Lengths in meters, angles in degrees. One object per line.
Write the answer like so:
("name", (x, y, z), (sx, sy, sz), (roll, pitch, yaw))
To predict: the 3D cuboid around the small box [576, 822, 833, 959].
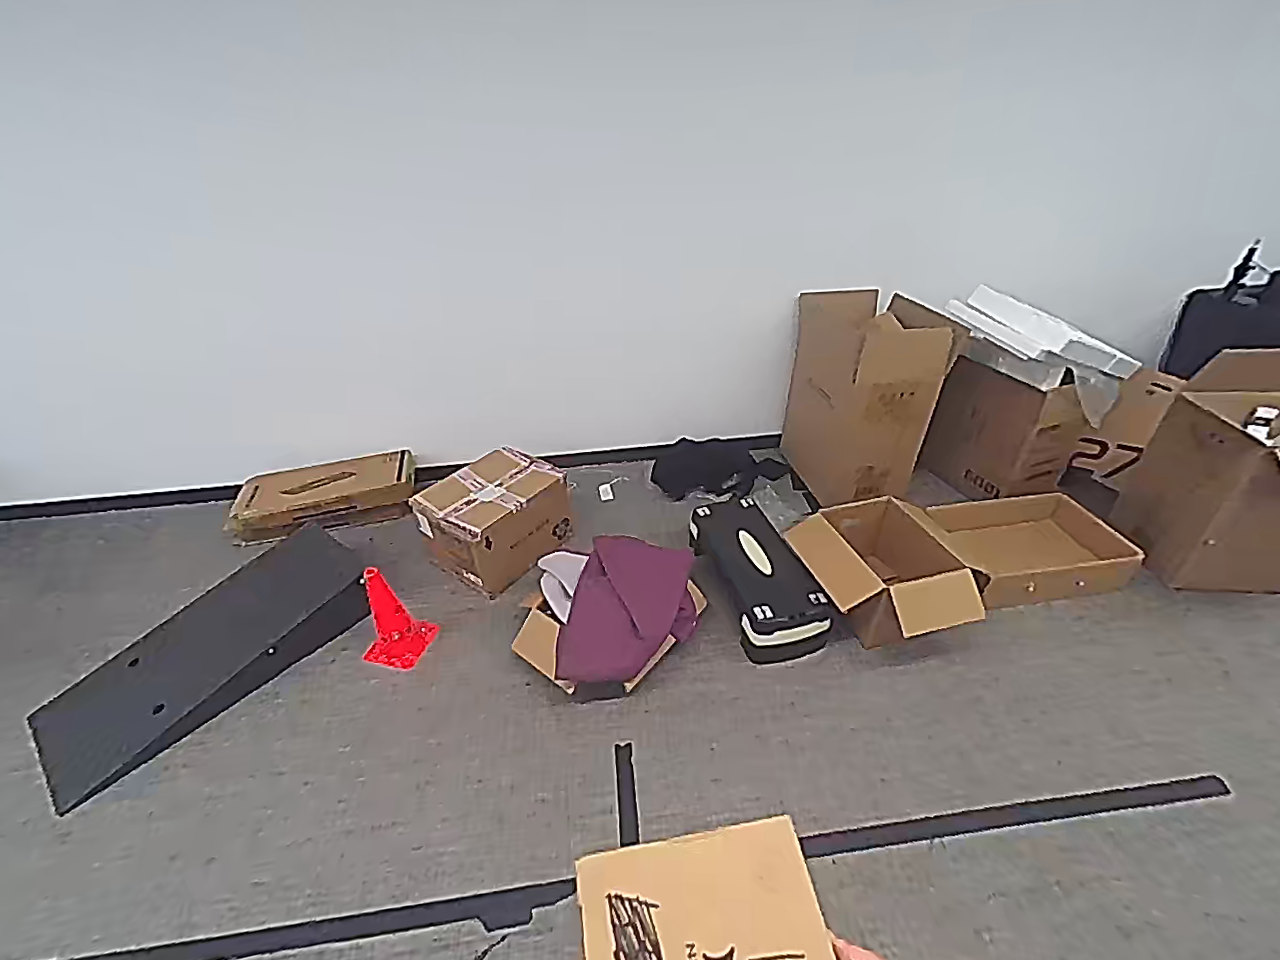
("small box", (0.052, 0.397, 0.420), (0.179, 0.176, 0.168), (-8, 42, -4))
